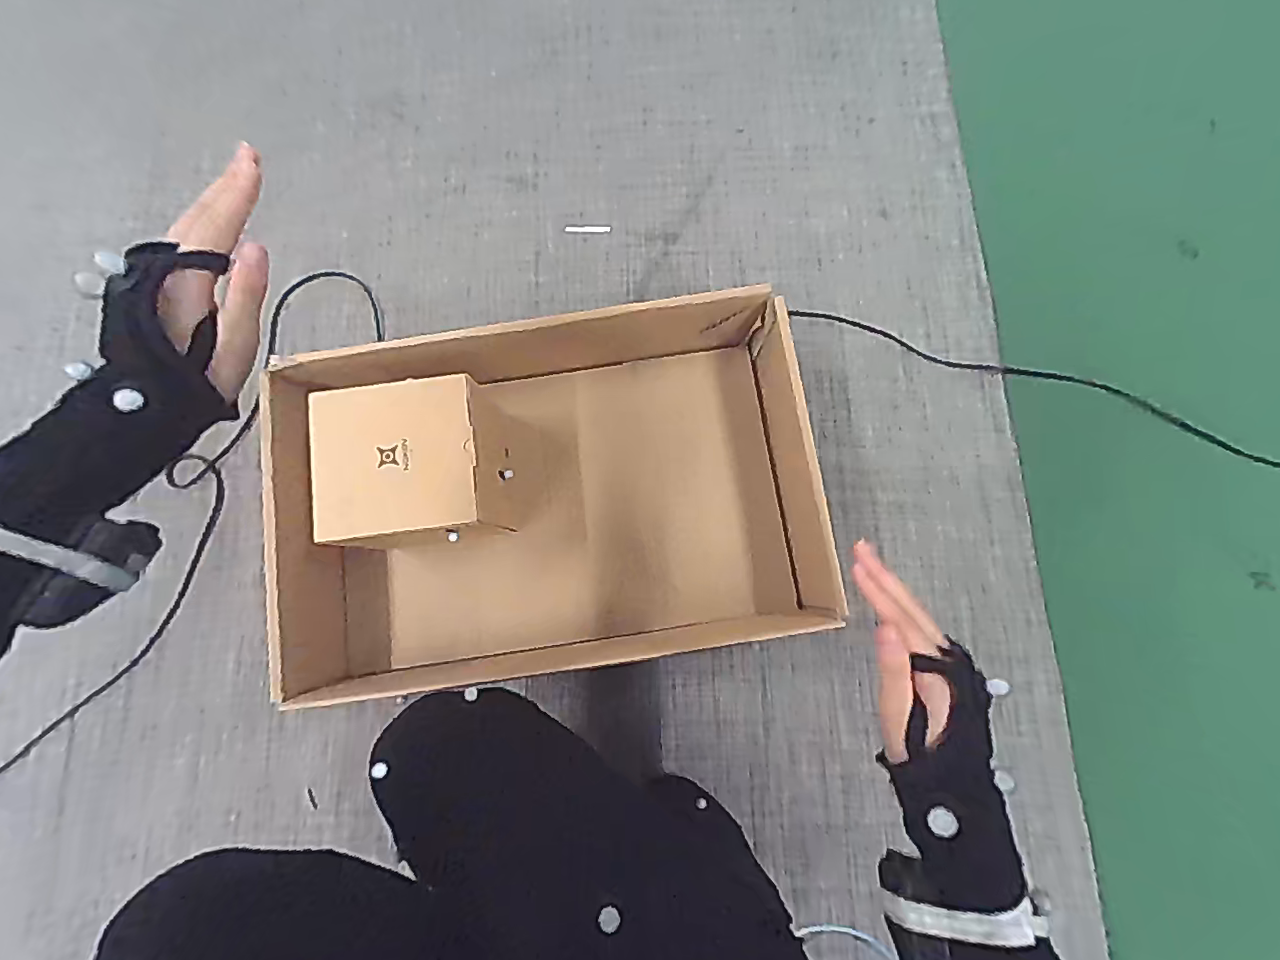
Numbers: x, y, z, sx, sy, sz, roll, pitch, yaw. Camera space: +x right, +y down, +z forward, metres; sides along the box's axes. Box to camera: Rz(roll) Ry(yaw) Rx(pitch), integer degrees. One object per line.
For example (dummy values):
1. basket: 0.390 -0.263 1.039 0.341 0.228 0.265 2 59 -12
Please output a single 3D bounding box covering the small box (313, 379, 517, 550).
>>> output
1. small box: -0.262 -0.007 0.658 0.179 0.176 0.168 -8 81 0
